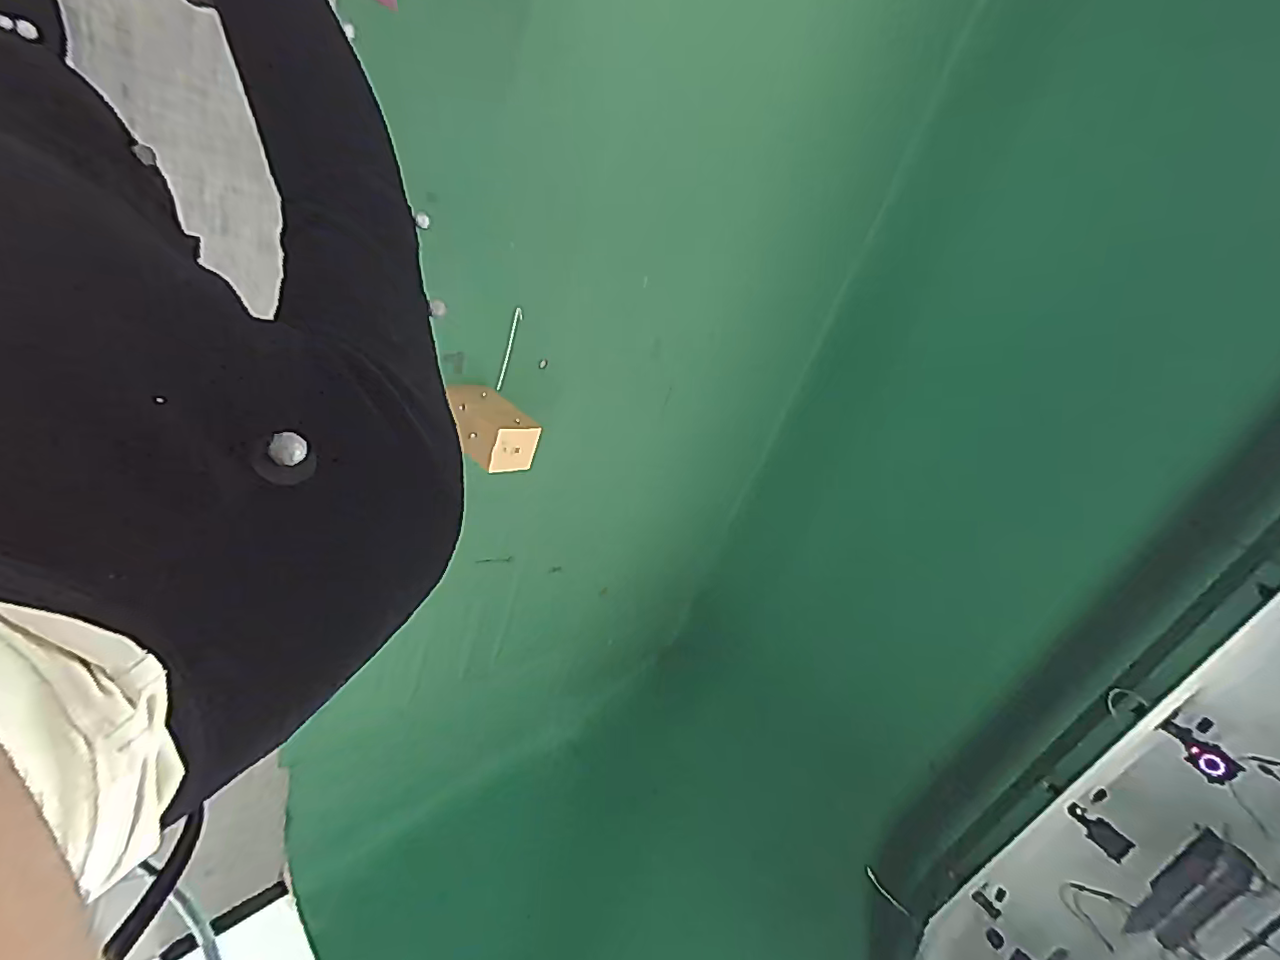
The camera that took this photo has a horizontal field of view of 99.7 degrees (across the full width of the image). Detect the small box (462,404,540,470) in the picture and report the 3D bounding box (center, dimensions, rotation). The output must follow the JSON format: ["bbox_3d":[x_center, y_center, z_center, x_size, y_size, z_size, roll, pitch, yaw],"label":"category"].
[{"bbox_3d":[-0.479,-0.152,1.859,0.179,0.176,0.168,-8,127,-49],"label":"small box"}]
